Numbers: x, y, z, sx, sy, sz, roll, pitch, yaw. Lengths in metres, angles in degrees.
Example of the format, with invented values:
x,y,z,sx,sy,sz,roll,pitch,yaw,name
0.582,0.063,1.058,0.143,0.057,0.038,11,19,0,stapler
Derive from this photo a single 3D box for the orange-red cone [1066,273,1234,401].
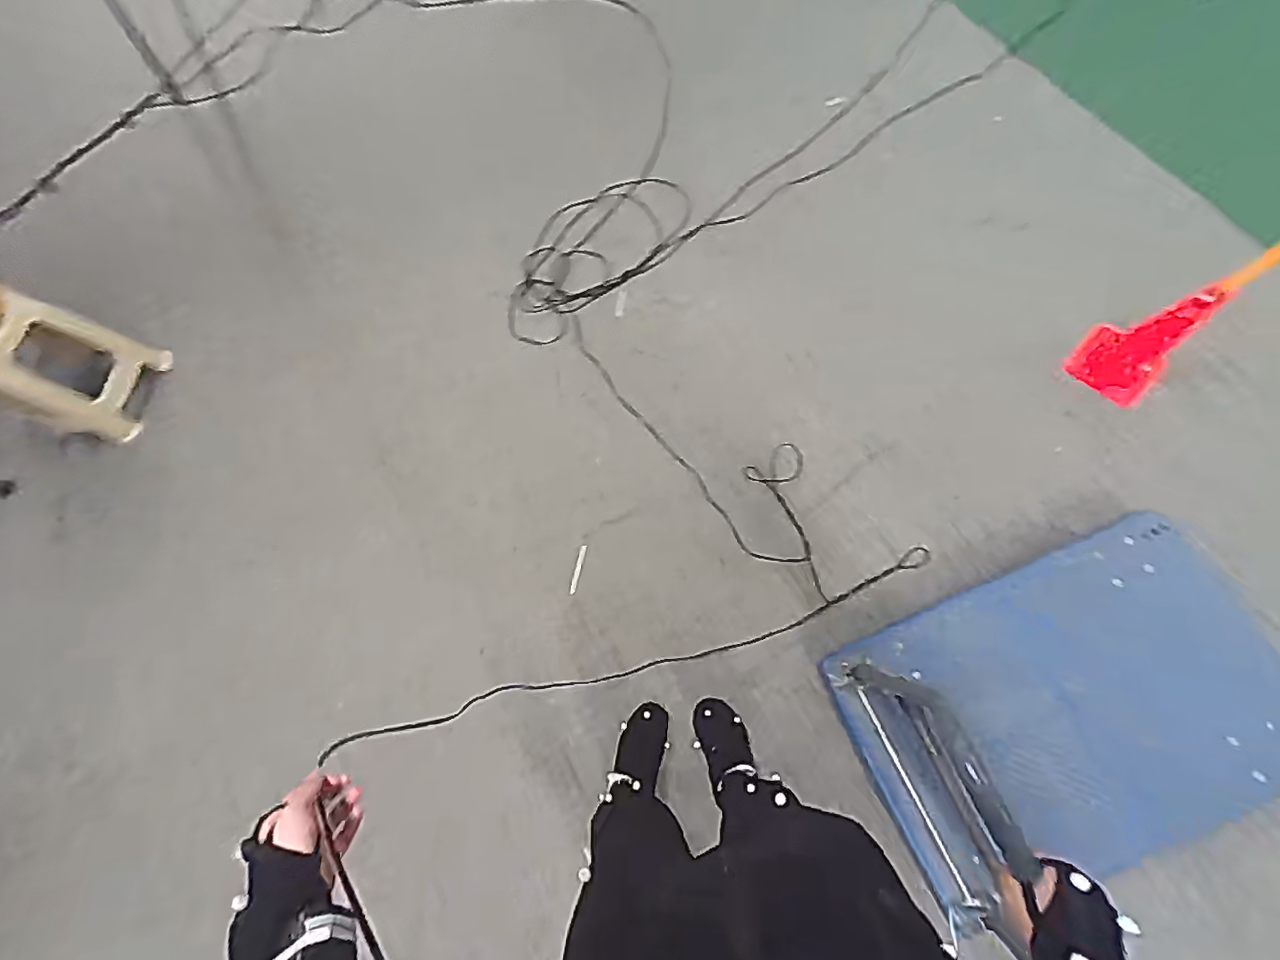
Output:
x,y,z,sx,sy,sz,roll,pitch,yaw,name
1.315,-0.390,1.361,0.198,0.360,0.199,-45,72,-8,orange-red cone
